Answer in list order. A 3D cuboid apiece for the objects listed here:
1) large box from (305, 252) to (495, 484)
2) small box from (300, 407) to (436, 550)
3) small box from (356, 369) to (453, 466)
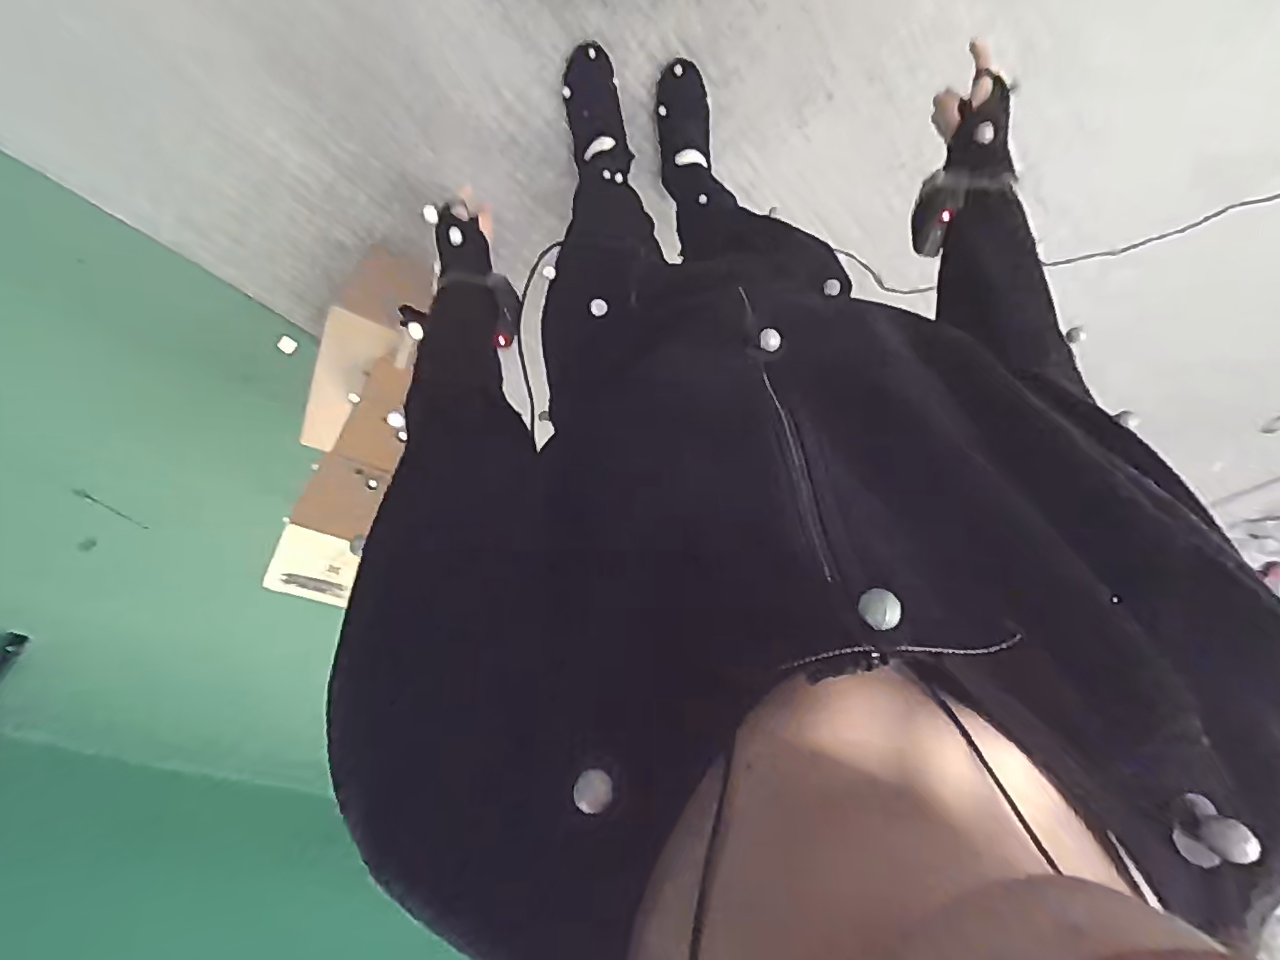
[{"bbox_3d":[-0.580,-0.267,1.335,0.320,0.320,0.408,21,128,-23],"label":"large box"},{"bbox_3d":[-0.507,-0.003,1.030,0.168,0.176,0.179,26,124,-28],"label":"small box"},{"bbox_3d":[-0.518,-0.108,1.154,0.179,0.176,0.168,25,124,-27],"label":"small box"}]
